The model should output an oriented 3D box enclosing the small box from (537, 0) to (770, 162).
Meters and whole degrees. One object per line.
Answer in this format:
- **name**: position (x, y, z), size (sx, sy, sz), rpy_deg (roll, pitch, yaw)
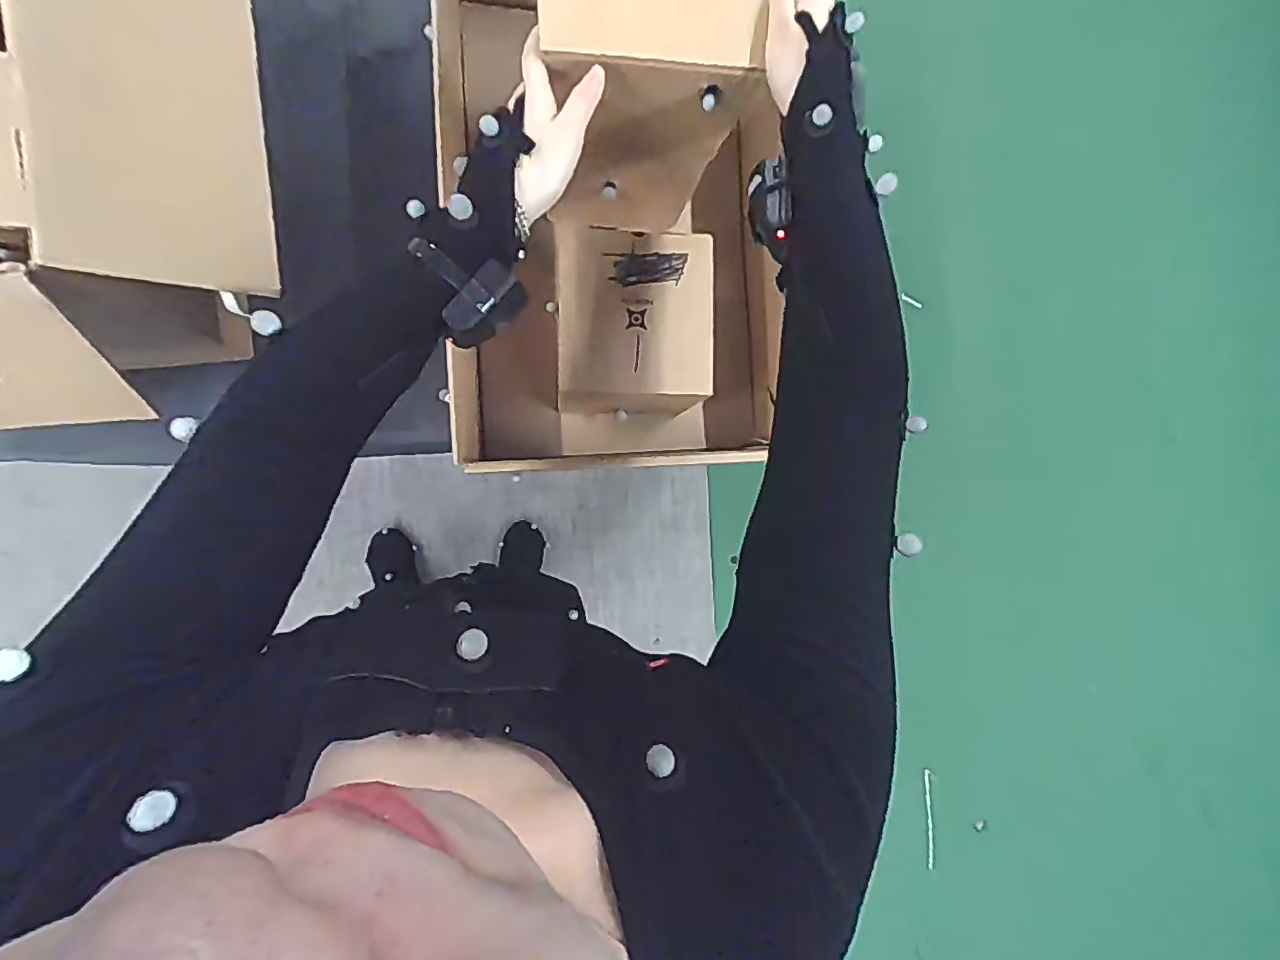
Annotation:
- **small box**: position (0.001, -0.399, 0.469), size (0.179, 0.176, 0.168), rpy_deg (-2, 100, -9)
